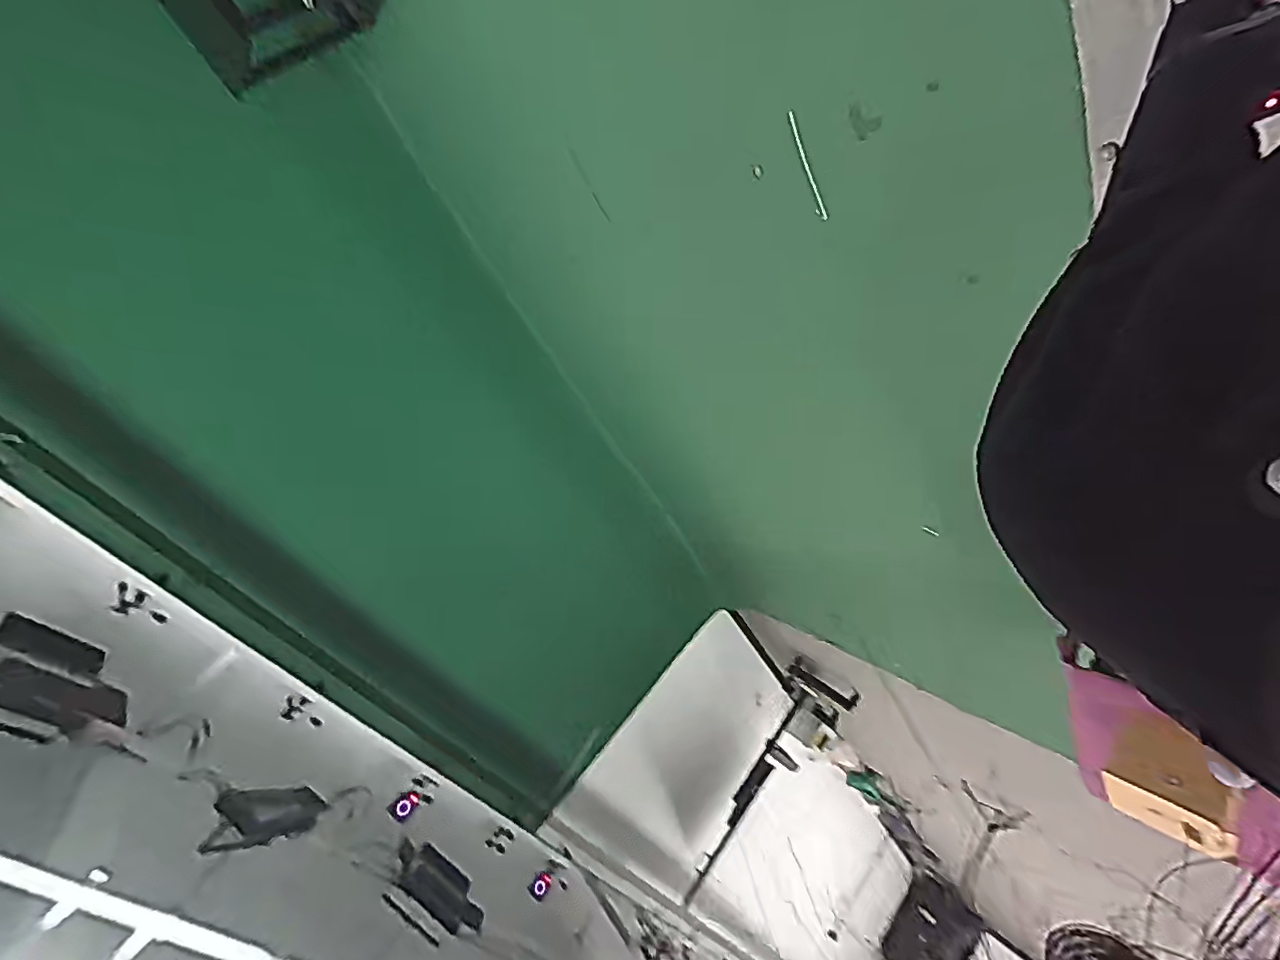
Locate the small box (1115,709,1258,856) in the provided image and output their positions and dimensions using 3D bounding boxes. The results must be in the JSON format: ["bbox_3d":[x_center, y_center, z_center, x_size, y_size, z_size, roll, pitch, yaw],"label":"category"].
[{"bbox_3d":[1.120,0.608,1.107,0.179,0.176,0.168,14,144,56],"label":"small box"}]
